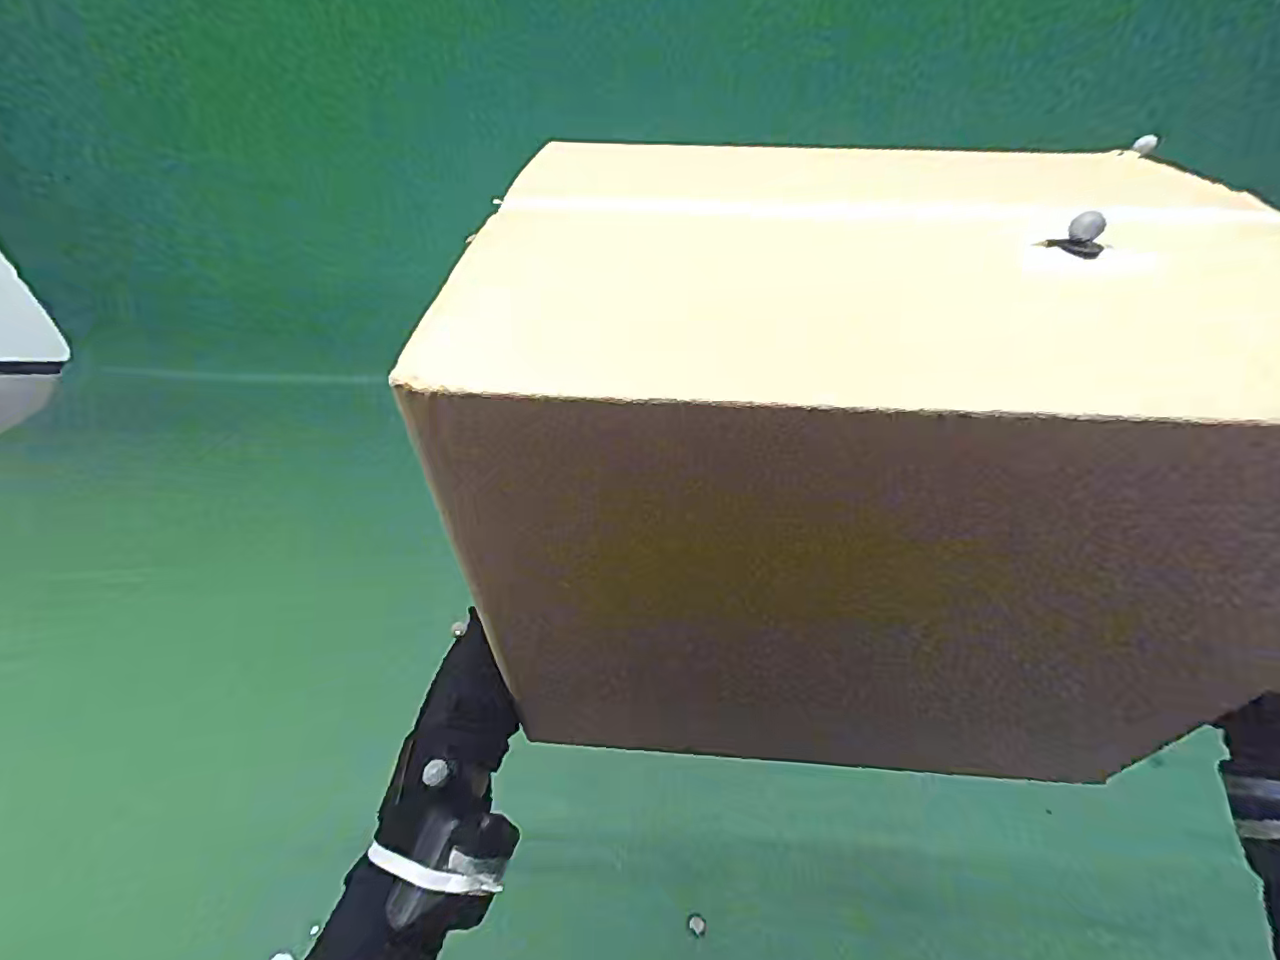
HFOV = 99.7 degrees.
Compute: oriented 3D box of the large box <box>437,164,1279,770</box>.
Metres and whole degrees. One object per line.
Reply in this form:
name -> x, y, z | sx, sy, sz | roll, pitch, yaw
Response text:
large box -> 0.129, -0.015, 0.393 | 0.408, 0.320, 0.320 | 4, 44, 3
